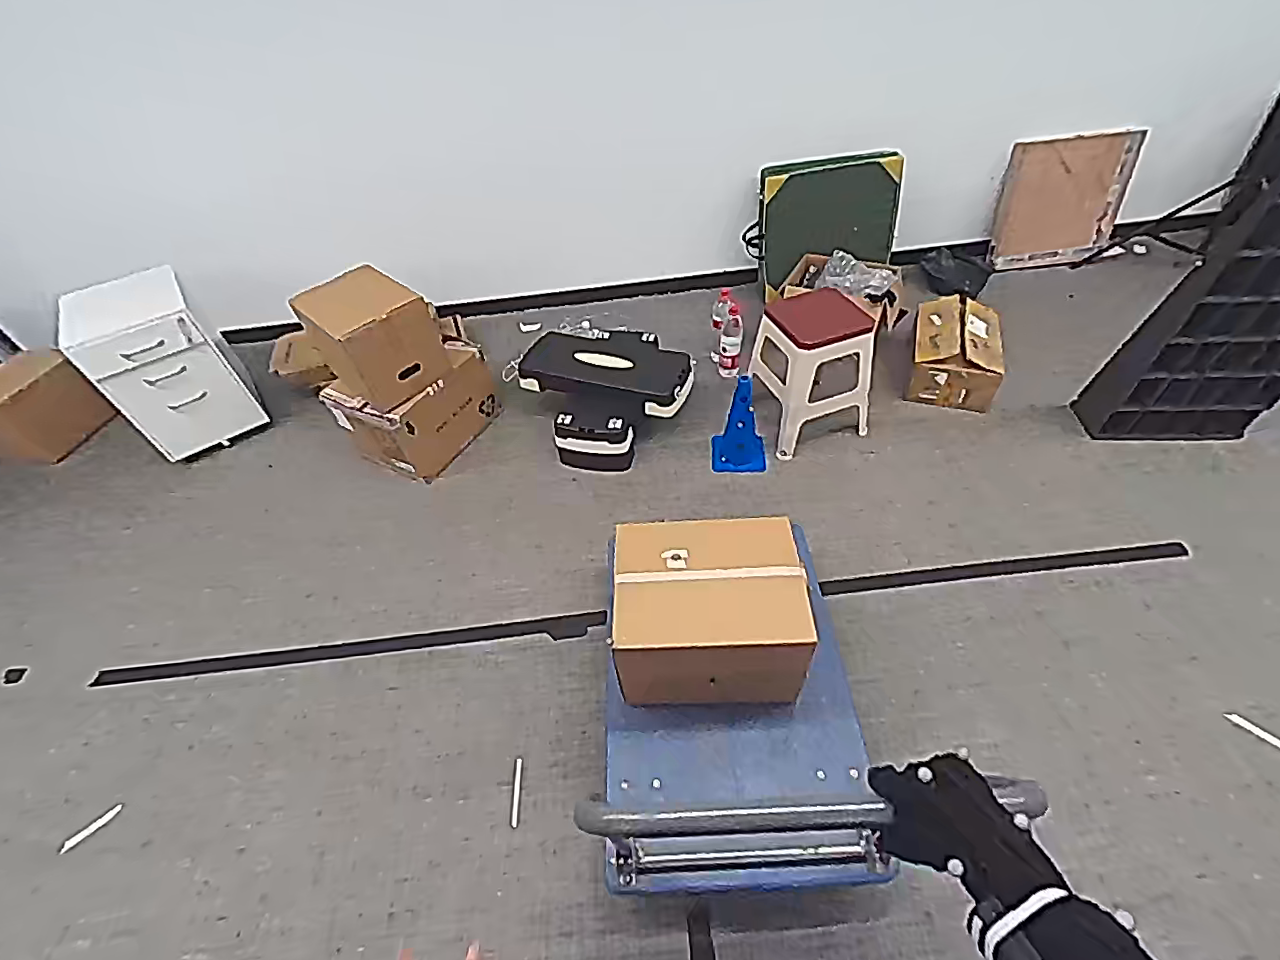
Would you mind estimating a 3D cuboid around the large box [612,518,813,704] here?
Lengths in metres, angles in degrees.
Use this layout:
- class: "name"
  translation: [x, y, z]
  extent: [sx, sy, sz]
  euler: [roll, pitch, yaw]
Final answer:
- class: "large box"
  translation: [0.155, 0.315, 1.274]
  extent: [0.408, 0.320, 0.320]
  euler: [-4, 47, 4]
